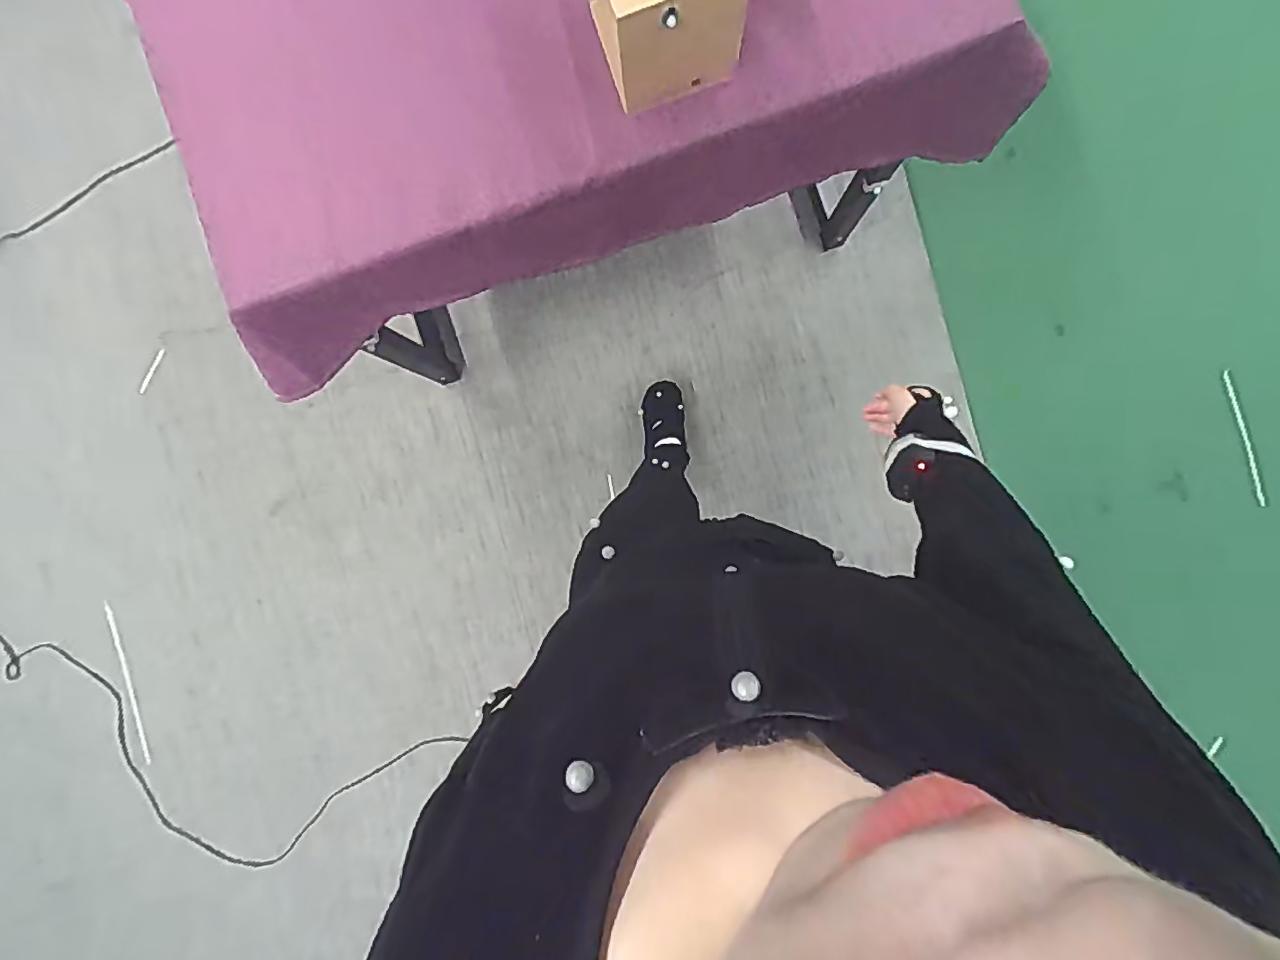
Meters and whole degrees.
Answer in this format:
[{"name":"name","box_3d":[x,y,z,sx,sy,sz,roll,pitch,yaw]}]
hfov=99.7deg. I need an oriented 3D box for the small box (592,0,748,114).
[{"name":"small box","box_3d":[0.029,-0.626,0.693,0.168,0.176,0.179,-18,88,4]}]
